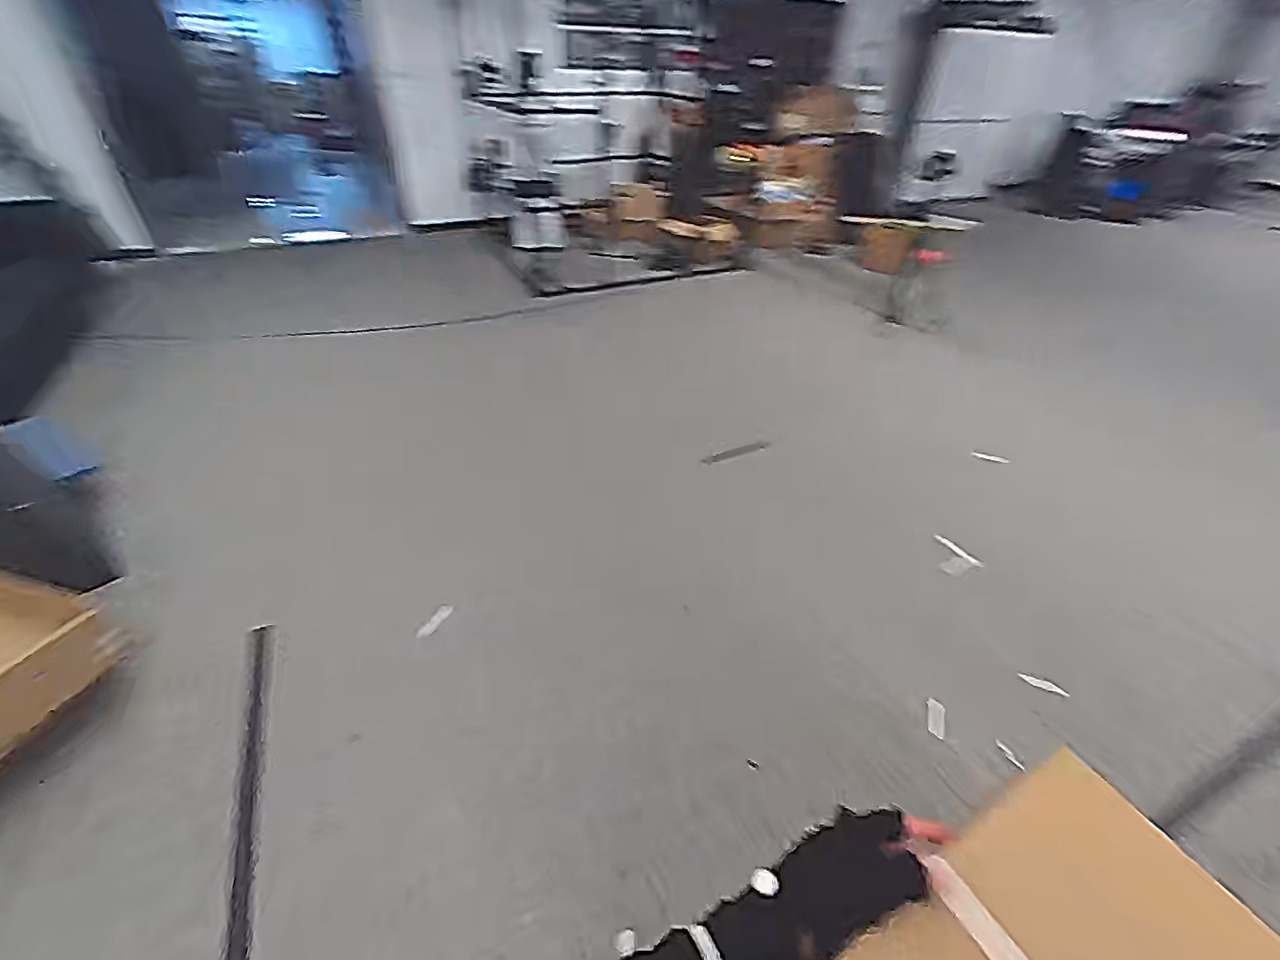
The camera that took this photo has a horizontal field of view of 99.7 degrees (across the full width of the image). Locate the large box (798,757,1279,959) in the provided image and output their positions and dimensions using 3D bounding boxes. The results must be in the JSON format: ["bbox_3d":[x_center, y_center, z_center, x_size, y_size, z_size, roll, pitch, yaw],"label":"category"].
[{"bbox_3d":[0.353,0.520,0.419,0.320,0.320,0.408,-30,50,-13],"label":"large box"}]
